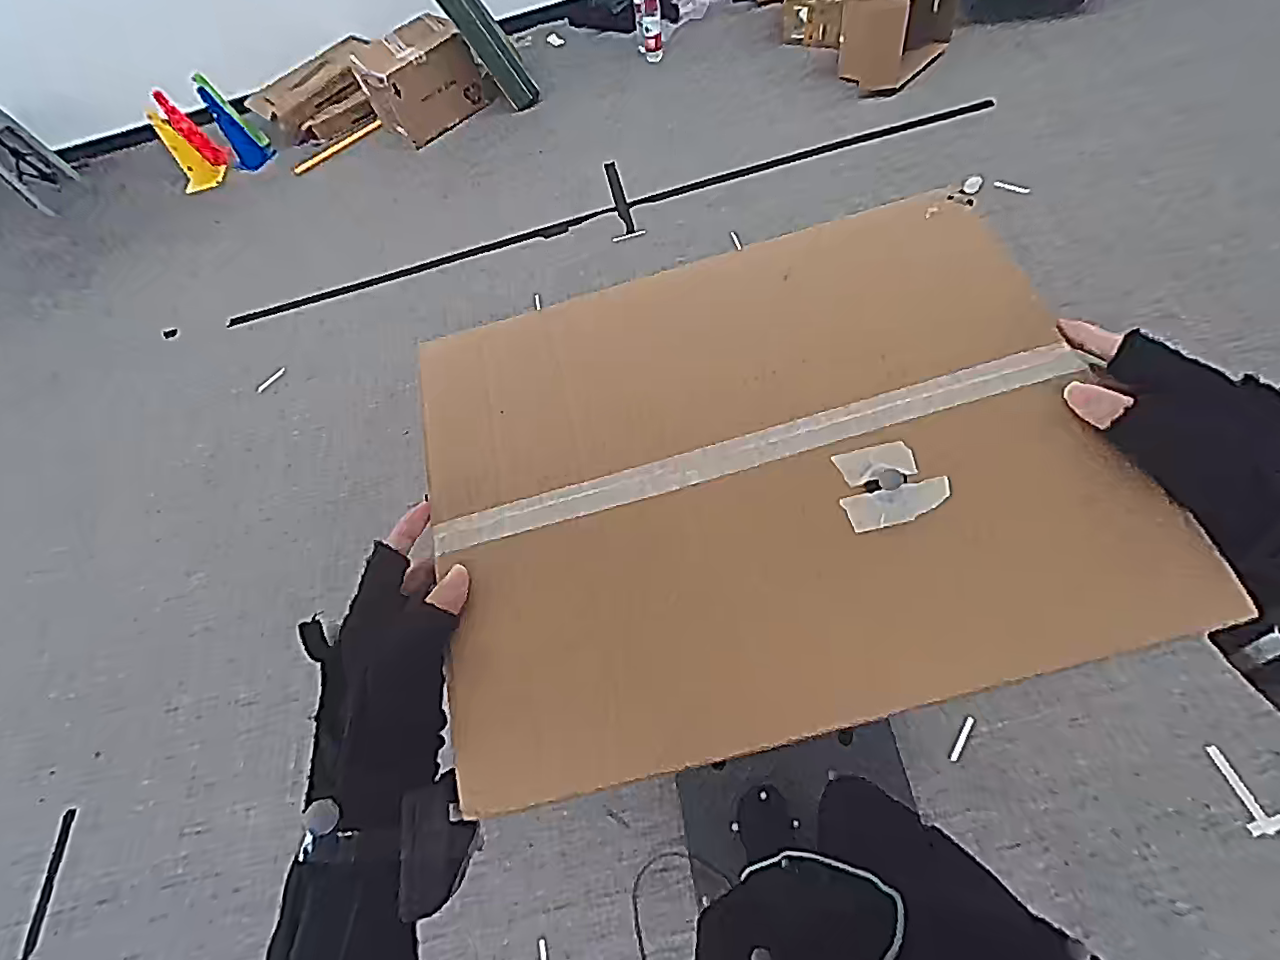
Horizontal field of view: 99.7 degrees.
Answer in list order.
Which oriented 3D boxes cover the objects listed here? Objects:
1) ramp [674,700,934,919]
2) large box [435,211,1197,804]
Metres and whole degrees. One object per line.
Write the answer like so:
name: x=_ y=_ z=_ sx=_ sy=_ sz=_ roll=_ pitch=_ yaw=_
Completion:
ramp: x=0.276 y=0.401 z=1.276 sx=0.509 sy=0.206 sz=0.991 roll=-14 pitch=61 yaw=2
large box: x=0.088 y=0.045 z=0.483 sx=0.408 sy=0.320 sz=0.320 roll=-16 pitch=67 yaw=2
